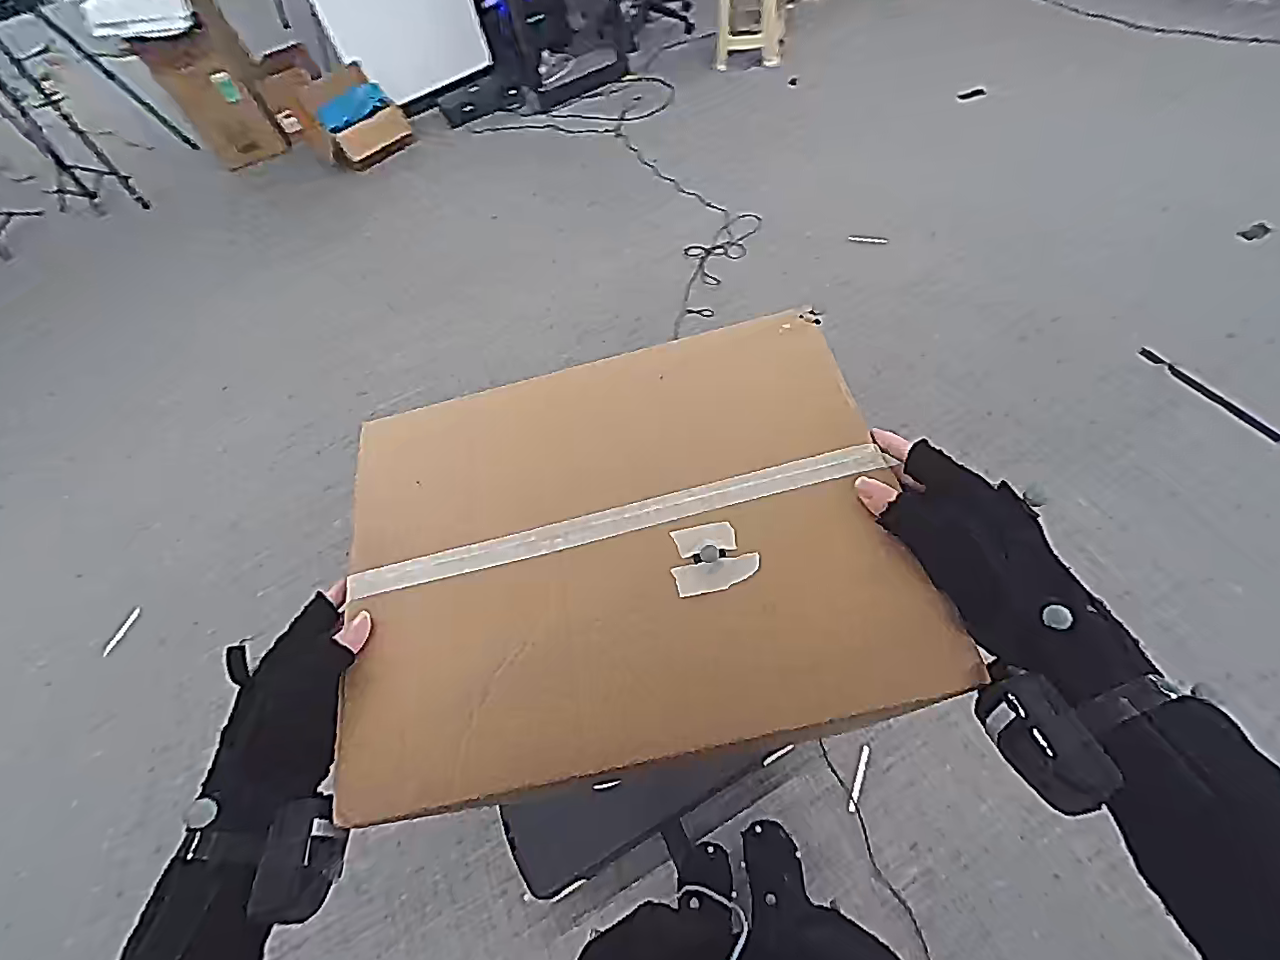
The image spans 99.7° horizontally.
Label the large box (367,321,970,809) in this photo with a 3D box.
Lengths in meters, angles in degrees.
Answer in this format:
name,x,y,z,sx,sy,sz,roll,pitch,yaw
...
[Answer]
name,x,y,z,sx,sy,sz,roll,pitch,yaw
large box,0.008,0.105,0.542,0.408,0.320,0.320,-14,61,3
